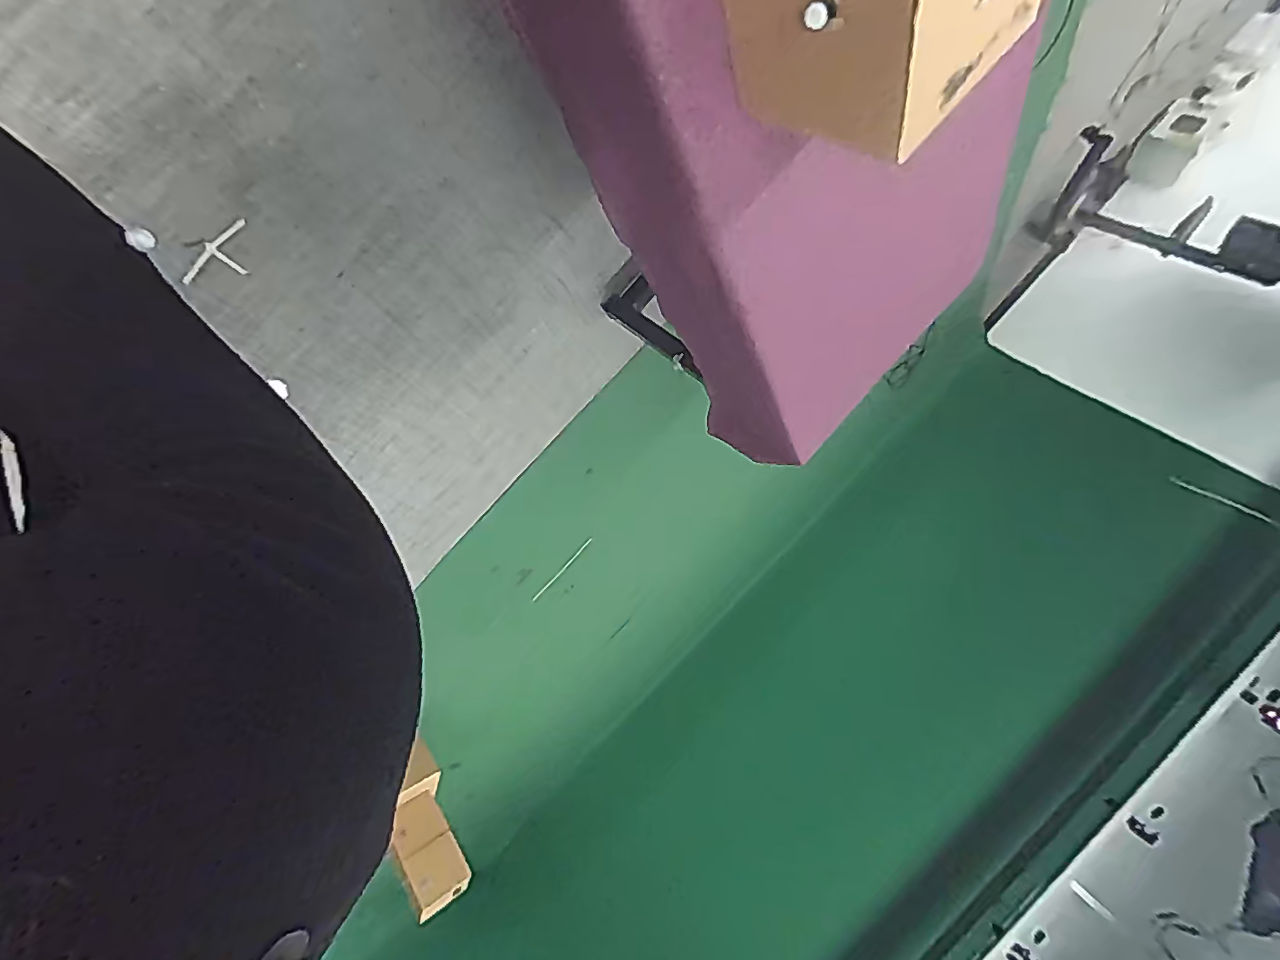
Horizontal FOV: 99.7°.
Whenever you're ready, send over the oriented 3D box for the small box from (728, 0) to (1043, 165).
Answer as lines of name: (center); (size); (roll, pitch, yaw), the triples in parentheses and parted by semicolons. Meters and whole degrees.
small box: (0.172, -0.378, 0.388); (0.168, 0.176, 0.179); (-46, 151, -1)
